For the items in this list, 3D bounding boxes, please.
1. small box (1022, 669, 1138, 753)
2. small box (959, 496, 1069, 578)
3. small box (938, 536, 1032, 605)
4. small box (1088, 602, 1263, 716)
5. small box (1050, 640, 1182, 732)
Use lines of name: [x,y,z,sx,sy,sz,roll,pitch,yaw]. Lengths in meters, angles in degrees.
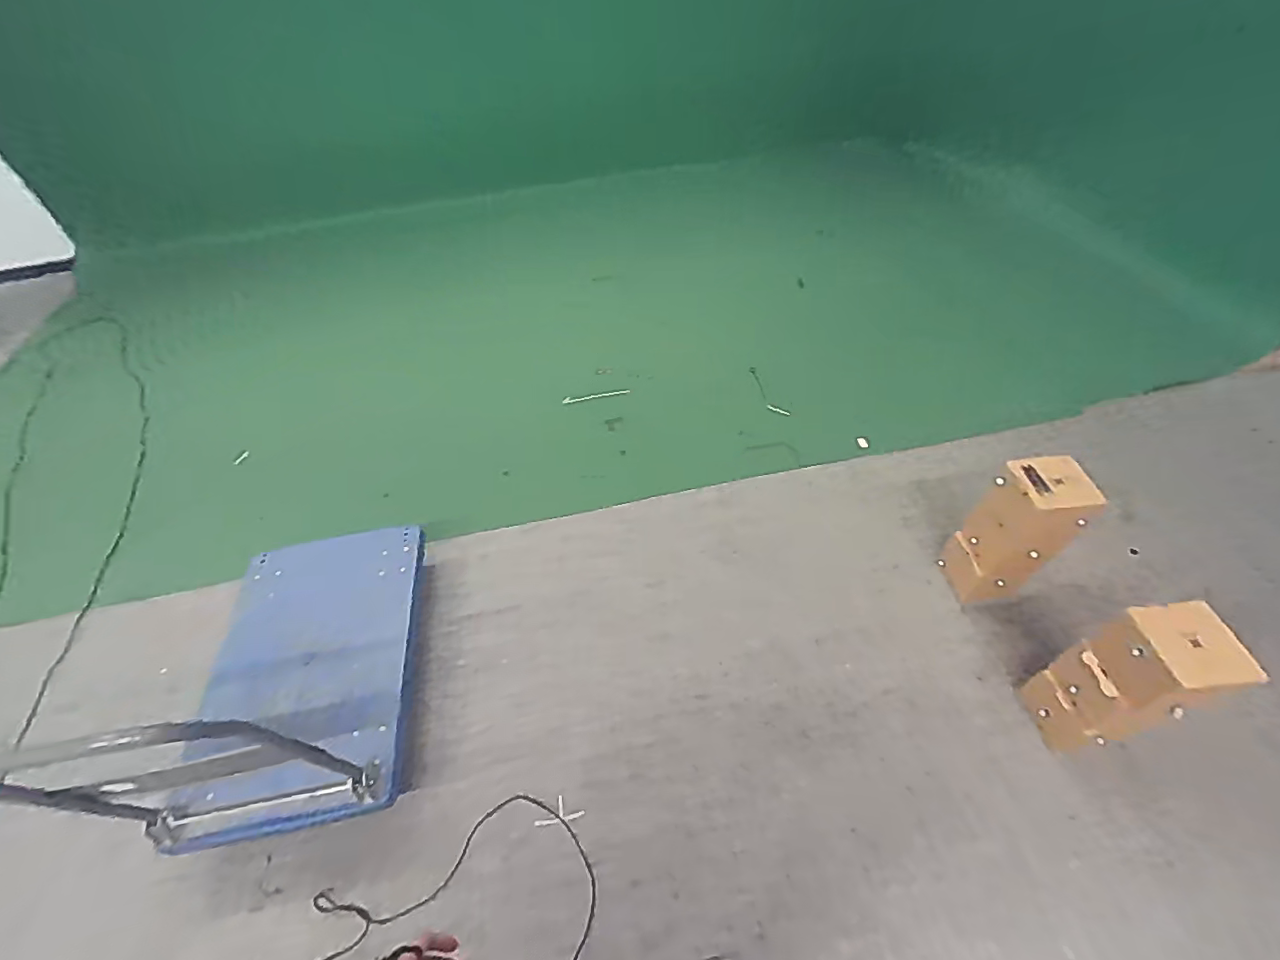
small box: [1.144,0.596,1.414,0.179,0.176,0.168,-10,49,-1]
small box: [1.077,0.169,1.575,0.179,0.176,0.168,-7,50,1]
small box: [1.077,0.284,1.713,0.179,0.176,0.168,-6,50,0]
small box: [1.128,0.386,1.162,0.168,0.176,0.179,-6,49,1]
small box: [1.141,0.487,1.290,0.179,0.176,0.168,-6,48,1]
